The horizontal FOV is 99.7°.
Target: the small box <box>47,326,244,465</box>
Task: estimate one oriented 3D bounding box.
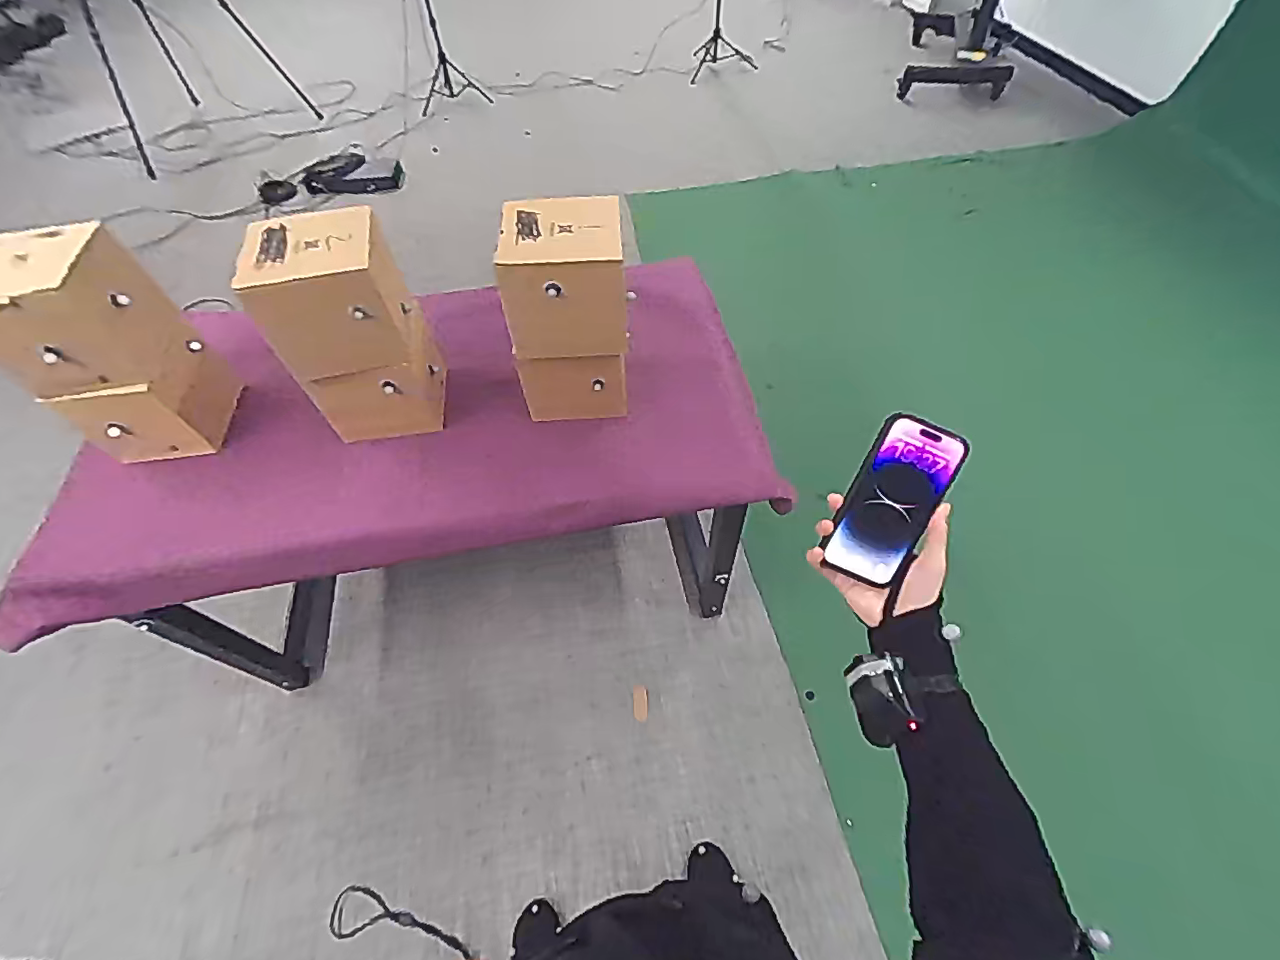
[{"bbox_3d":[-0.843,-0.140,0.950,0.168,0.176,0.179,-8,55,-3],"label":"small box"}]

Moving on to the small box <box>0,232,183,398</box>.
[{"bbox_3d":[-0.850,-0.242,0.820,0.168,0.176,0.179,-11,56,-7],"label":"small box"}]

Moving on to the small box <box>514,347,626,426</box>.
[{"bbox_3d":[-0.116,-0.214,0.975,0.179,0.176,0.168,-3,54,1],"label":"small box"}]

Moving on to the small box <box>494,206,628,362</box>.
[{"bbox_3d":[-0.110,-0.297,0.833,0.179,0.176,0.168,-2,54,-1],"label":"small box"}]

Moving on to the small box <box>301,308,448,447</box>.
[{"bbox_3d":[-0.455,-0.179,0.960,0.179,0.176,0.168,-8,55,-3],"label":"small box"}]
